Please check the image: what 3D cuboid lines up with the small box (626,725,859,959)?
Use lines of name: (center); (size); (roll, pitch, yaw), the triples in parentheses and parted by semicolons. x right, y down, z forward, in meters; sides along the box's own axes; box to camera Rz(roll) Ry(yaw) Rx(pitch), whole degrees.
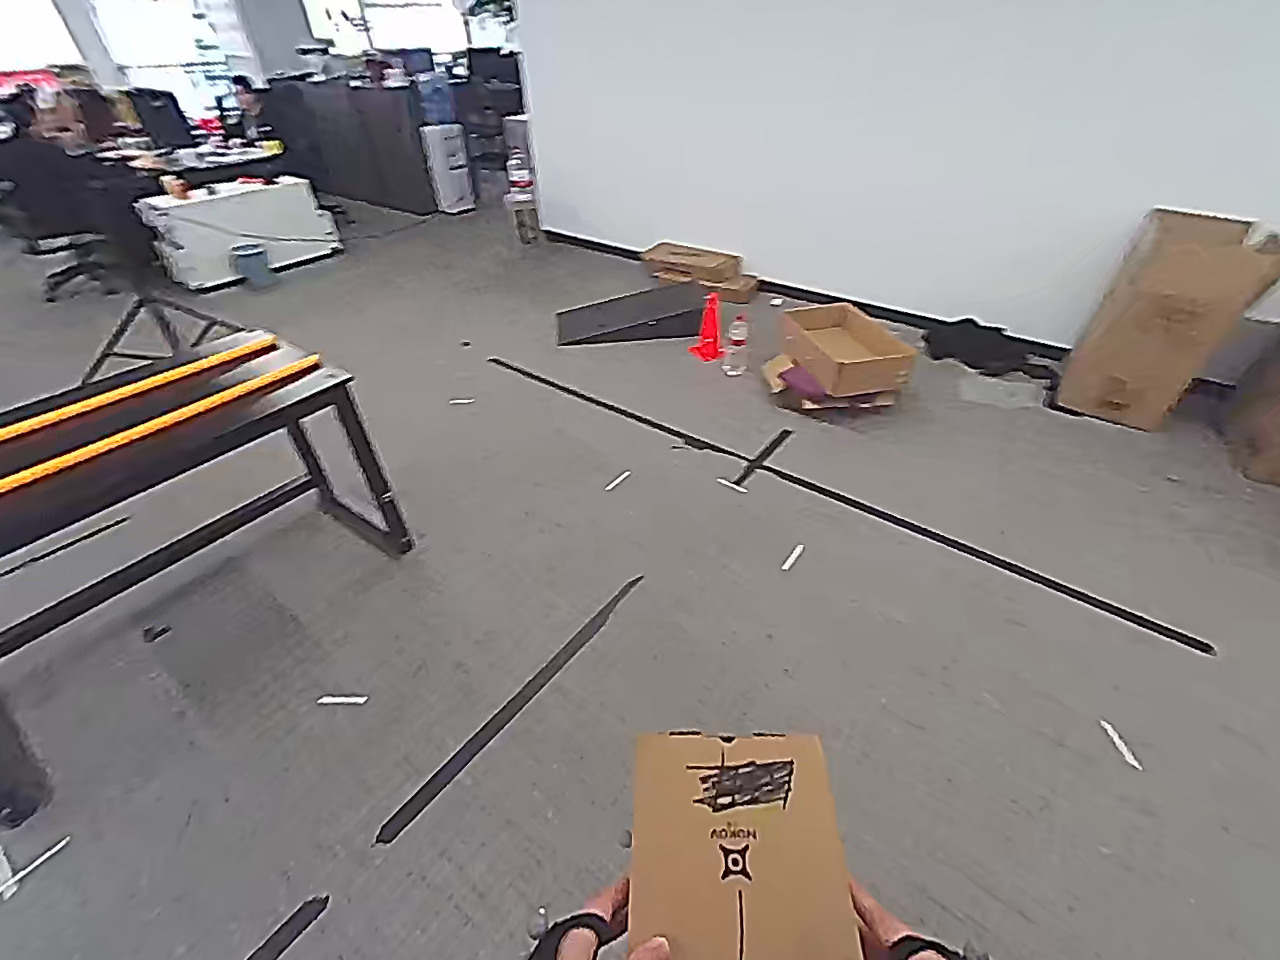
small box: (0.076, 0.341, 0.484); (0.168, 0.176, 0.179); (-1, 45, 3)
